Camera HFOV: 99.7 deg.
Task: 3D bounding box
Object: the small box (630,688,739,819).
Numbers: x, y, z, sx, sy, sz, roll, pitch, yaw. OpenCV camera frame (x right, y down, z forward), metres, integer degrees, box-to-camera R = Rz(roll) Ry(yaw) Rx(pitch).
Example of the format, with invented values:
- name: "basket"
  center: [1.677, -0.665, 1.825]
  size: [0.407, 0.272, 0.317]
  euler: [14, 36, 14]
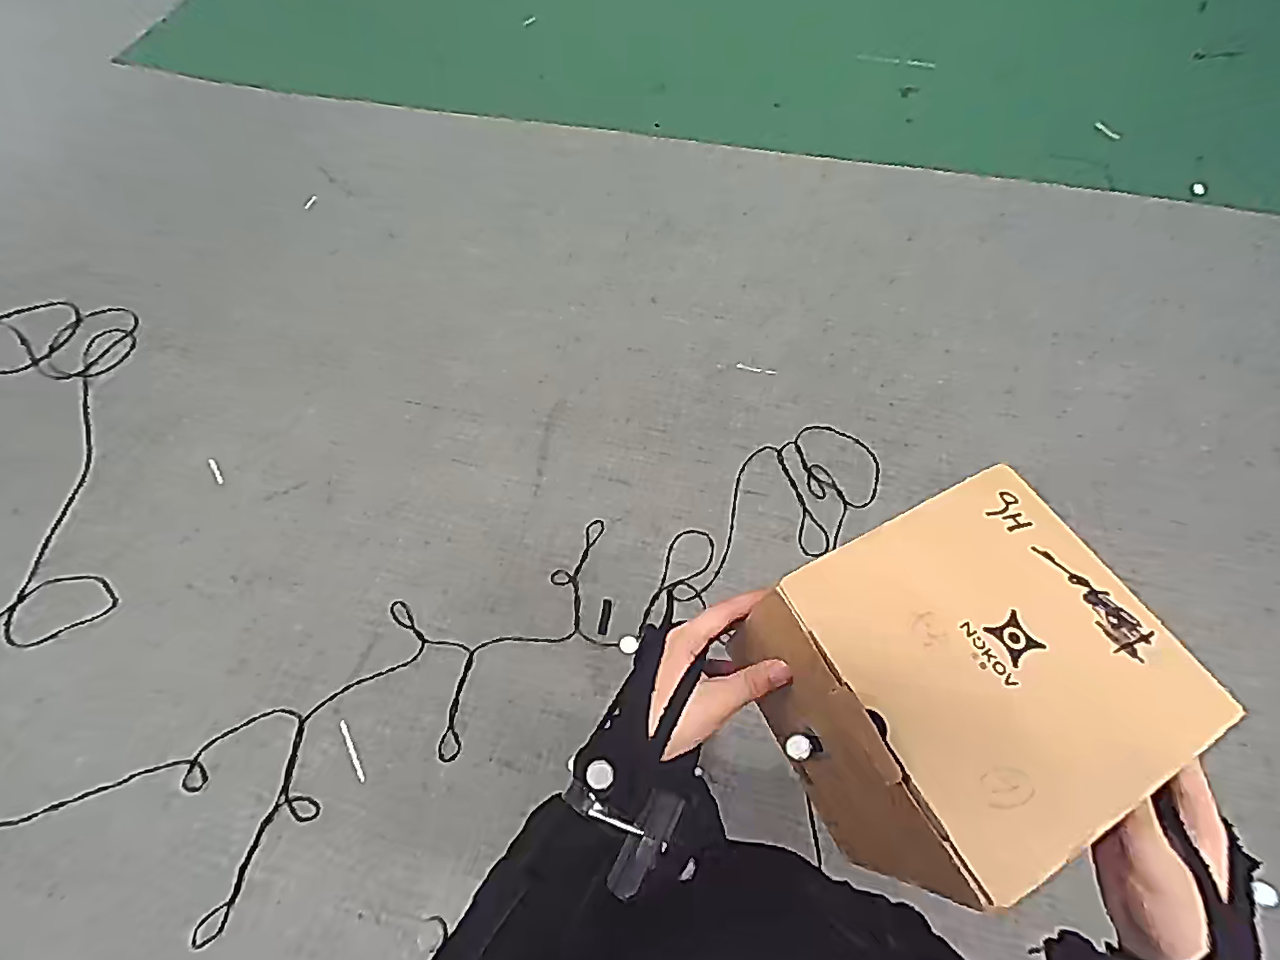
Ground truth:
- name: "small box"
  center: [0.092, 0.563, 1.122]
  size: [0.168, 0.176, 0.179]
  euler: [-32, 58, -16]
